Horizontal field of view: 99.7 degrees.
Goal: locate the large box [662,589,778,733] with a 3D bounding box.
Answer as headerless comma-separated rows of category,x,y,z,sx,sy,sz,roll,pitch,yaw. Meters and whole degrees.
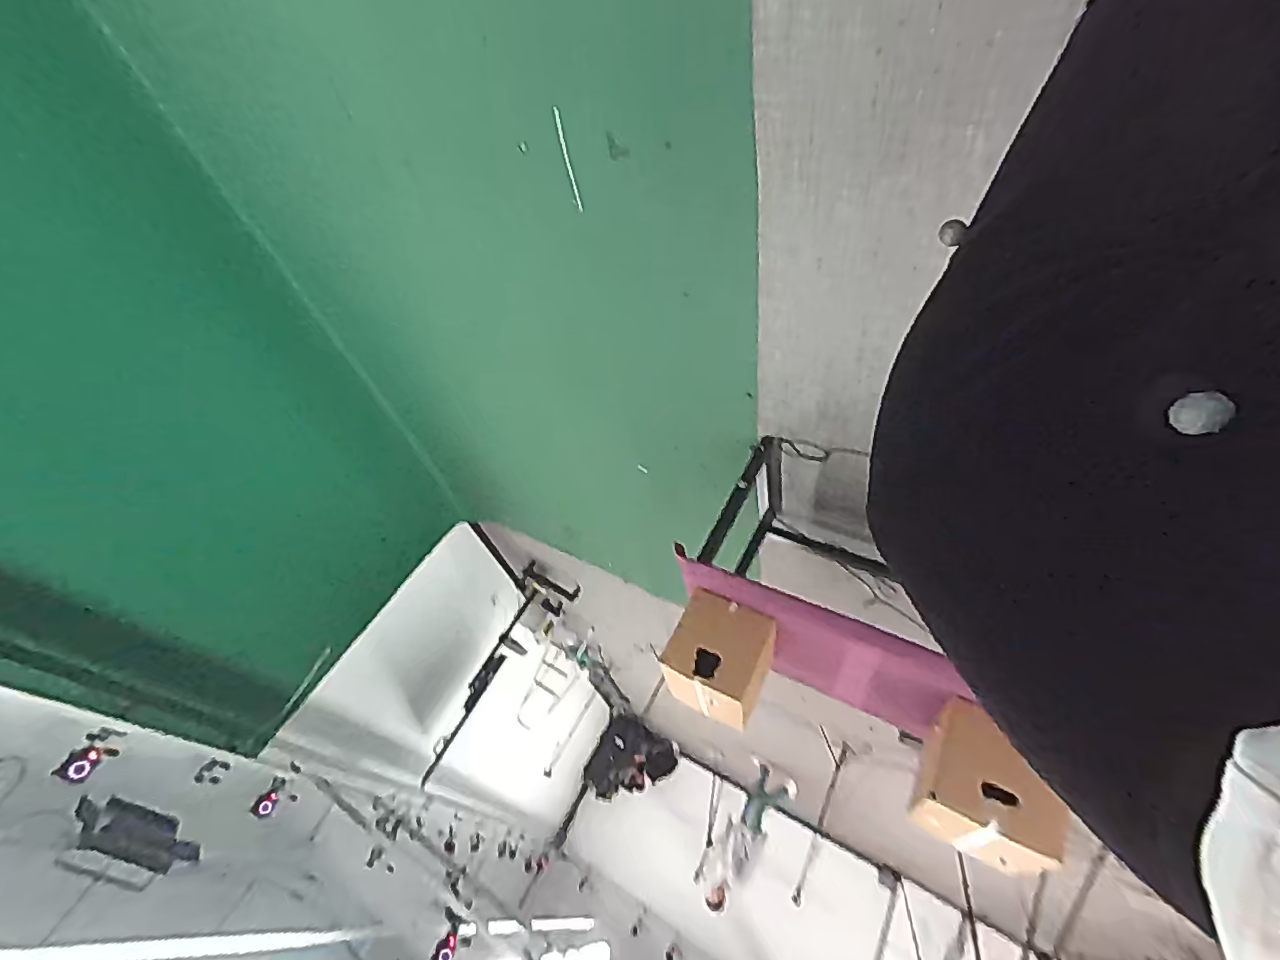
large box,0.311,0.667,1.992,0.320,0.320,0.408,17,147,25
